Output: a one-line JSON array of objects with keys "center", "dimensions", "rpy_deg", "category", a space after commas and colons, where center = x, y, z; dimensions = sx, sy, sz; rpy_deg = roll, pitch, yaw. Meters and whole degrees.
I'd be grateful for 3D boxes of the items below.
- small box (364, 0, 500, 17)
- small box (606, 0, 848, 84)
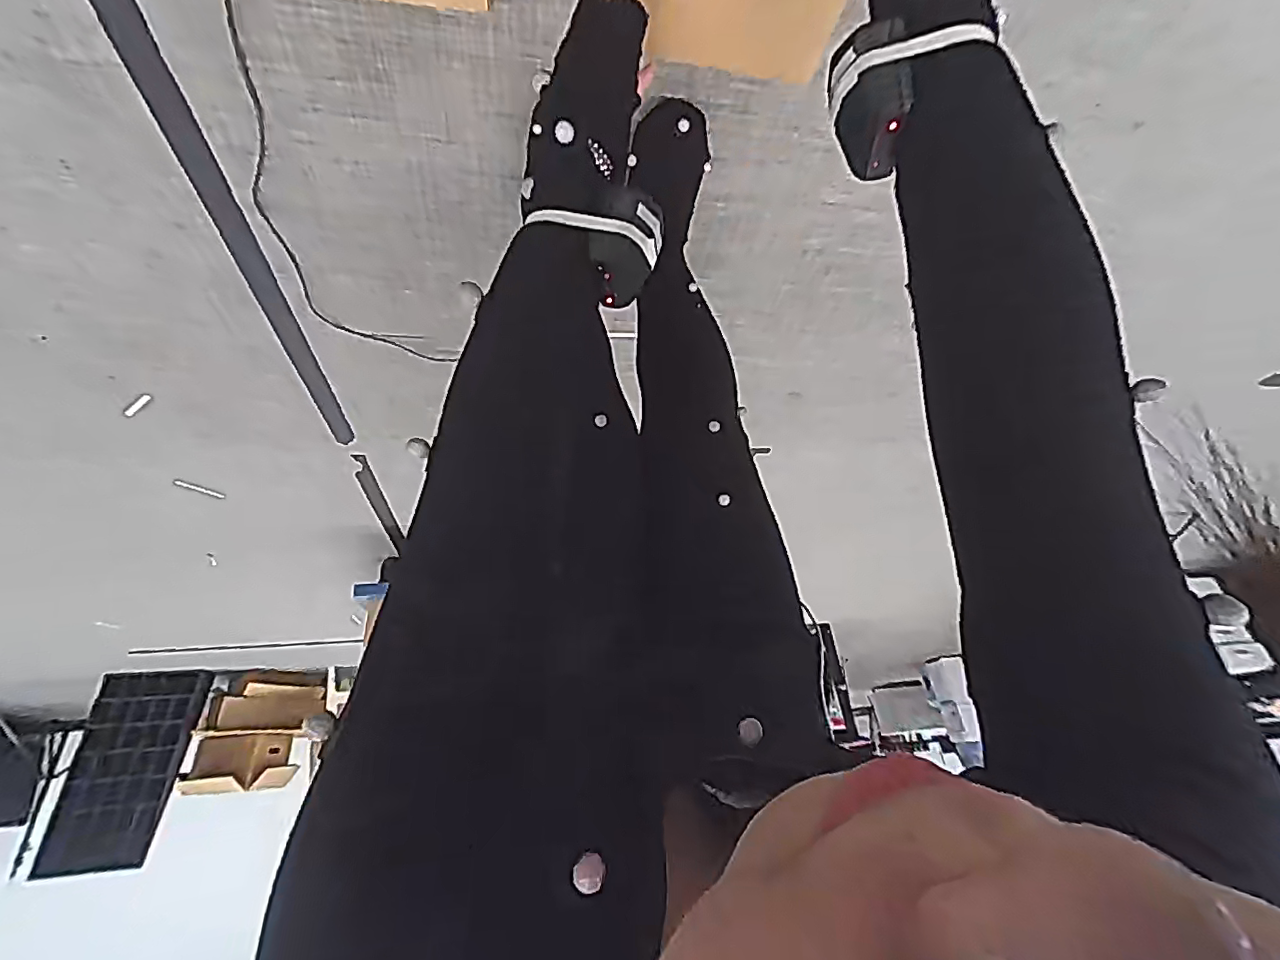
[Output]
[{"center": [-0.183, -0.444, 0.346], "dimensions": [0.179, 0.176, 0.168], "rpy_deg": [0, 150, -10], "category": "small box"}, {"center": [0.068, -0.438, 0.392], "dimensions": [0.179, 0.176, 0.168], "rpy_deg": [0, 156, -13], "category": "small box"}]
